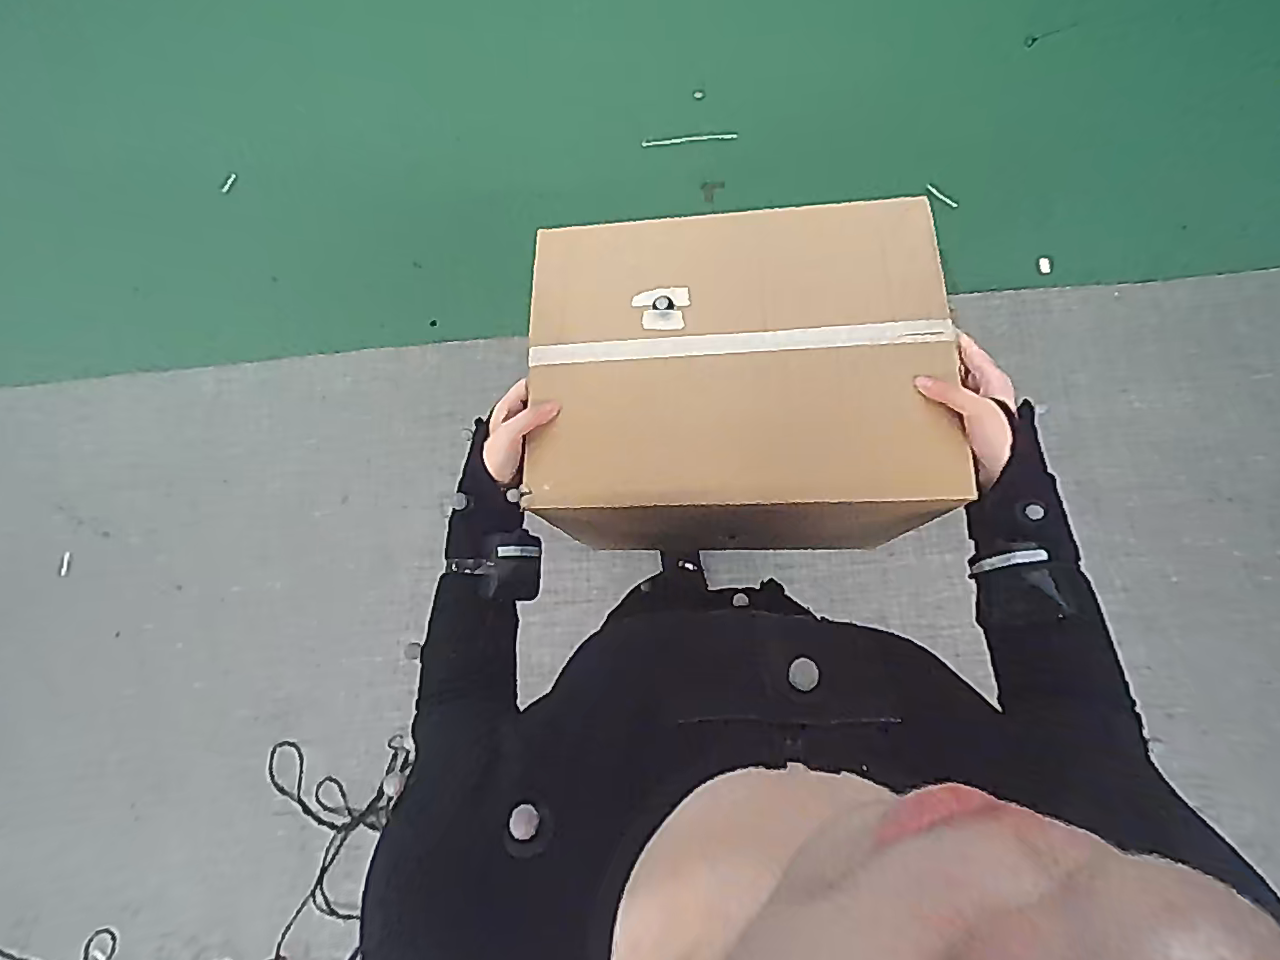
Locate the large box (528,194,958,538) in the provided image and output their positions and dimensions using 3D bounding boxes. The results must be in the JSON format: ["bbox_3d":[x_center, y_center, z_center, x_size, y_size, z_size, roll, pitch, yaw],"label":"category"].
[{"bbox_3d":[0.109,-0.099,0.681,0.408,0.320,0.320,-2,75,9],"label":"large box"}]
